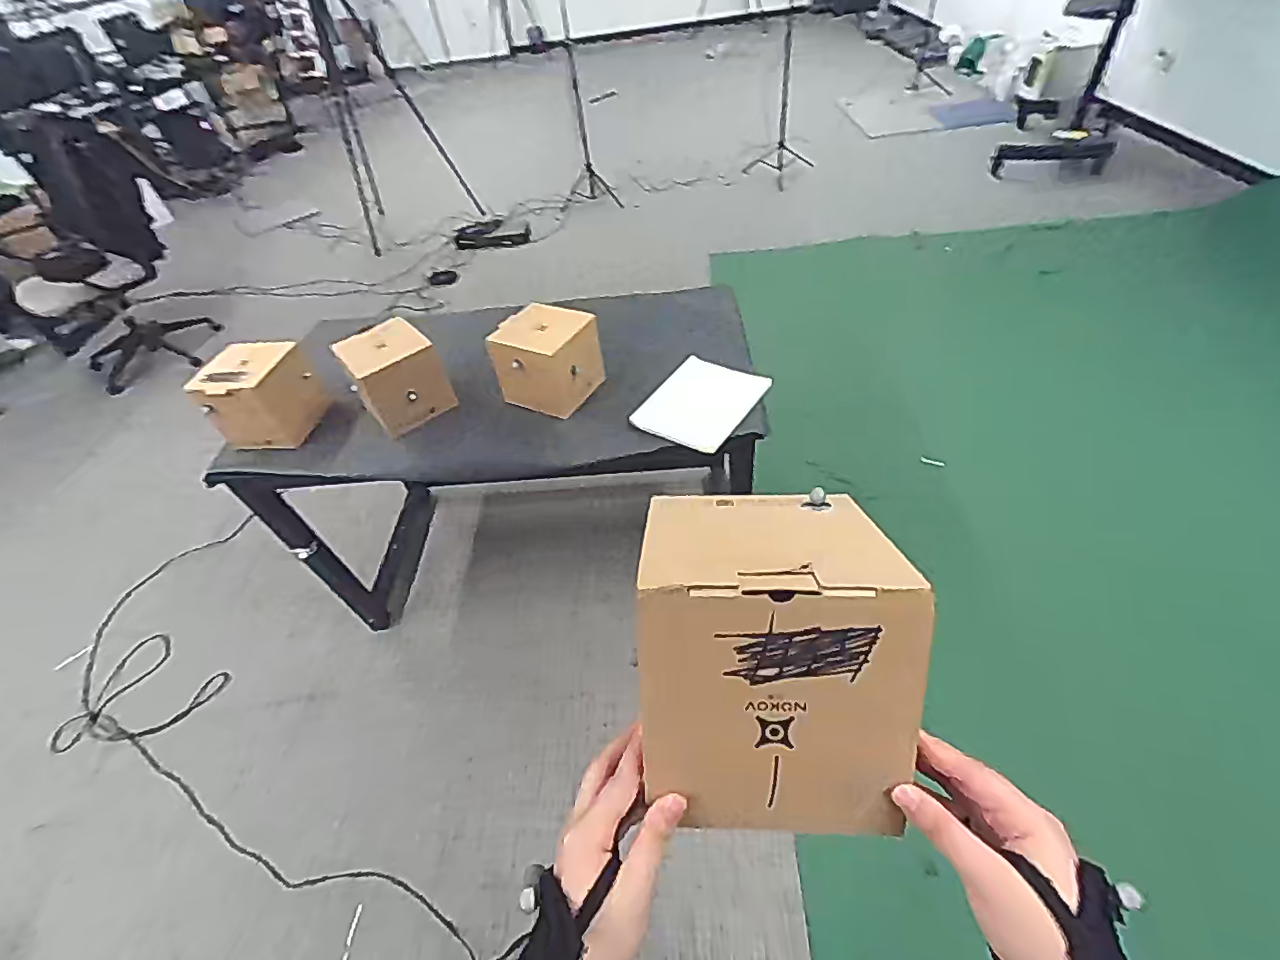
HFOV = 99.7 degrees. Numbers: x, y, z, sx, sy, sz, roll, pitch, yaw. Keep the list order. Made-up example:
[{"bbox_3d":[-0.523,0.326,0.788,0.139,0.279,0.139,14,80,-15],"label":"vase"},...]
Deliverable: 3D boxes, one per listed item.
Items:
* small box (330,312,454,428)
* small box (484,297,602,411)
[{"bbox_3d":[-0.546,-0.241,1.208,0.168,0.176,0.179,-35,52,-23],"label":"small box"},{"bbox_3d":[-0.203,-0.274,1.190,0.179,0.176,0.168,18,52,24],"label":"small box"}]
